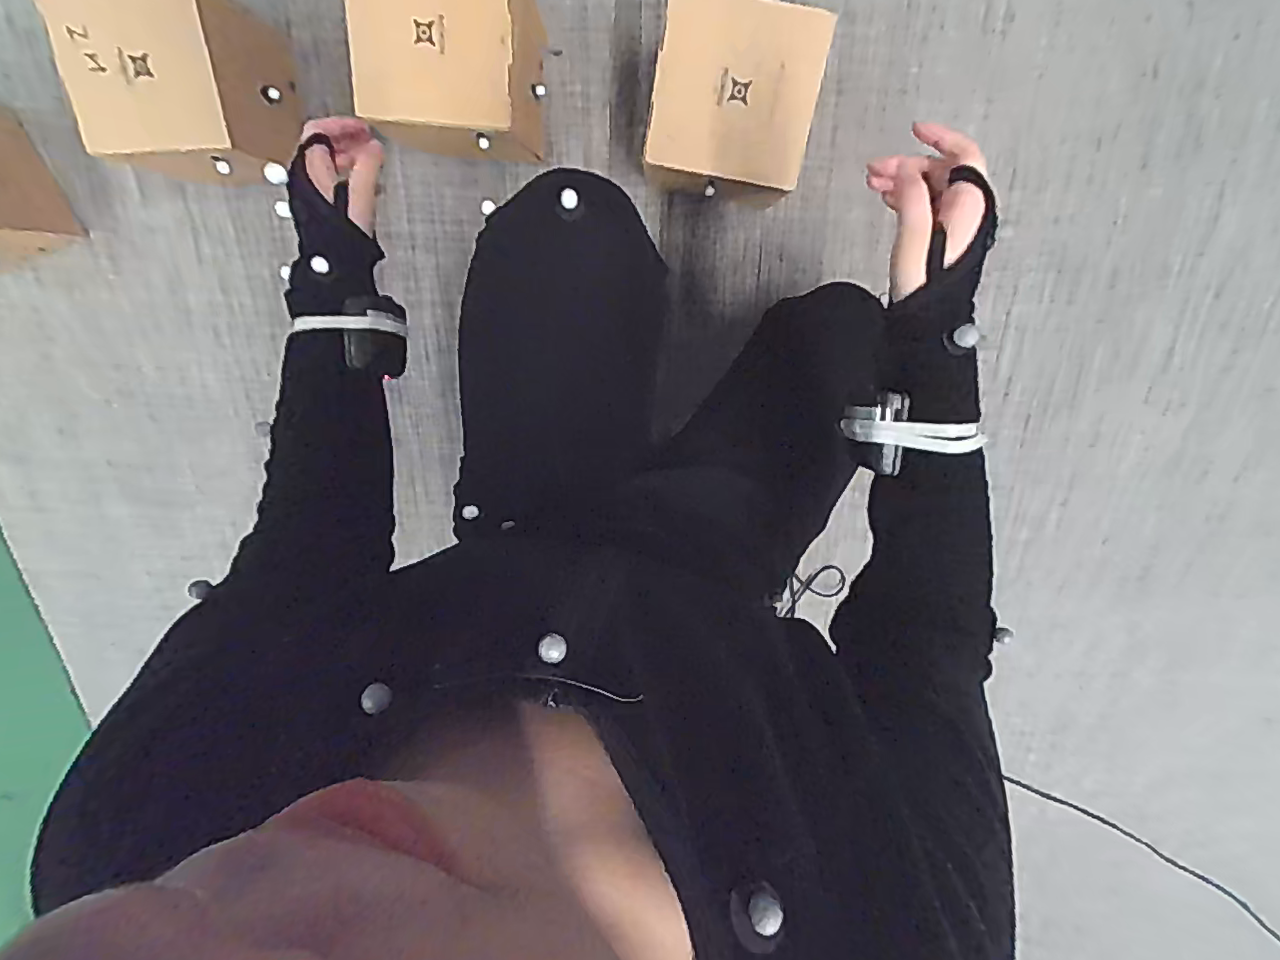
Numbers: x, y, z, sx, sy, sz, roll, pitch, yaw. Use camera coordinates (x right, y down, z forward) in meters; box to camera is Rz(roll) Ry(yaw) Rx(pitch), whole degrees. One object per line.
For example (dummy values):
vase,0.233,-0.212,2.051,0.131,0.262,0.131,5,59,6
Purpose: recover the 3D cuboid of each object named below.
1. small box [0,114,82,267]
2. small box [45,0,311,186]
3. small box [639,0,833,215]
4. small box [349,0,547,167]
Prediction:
small box,-0.930,-0.390,0.721,0.168,0.176,0.179,-15,108,8
small box,-0.543,-0.473,0.670,0.179,0.176,0.168,0,109,3
small box,0.103,-0.431,0.655,0.179,0.176,0.168,11,110,-1
small box,-0.218,-0.491,0.651,0.179,0.176,0.168,5,109,0
